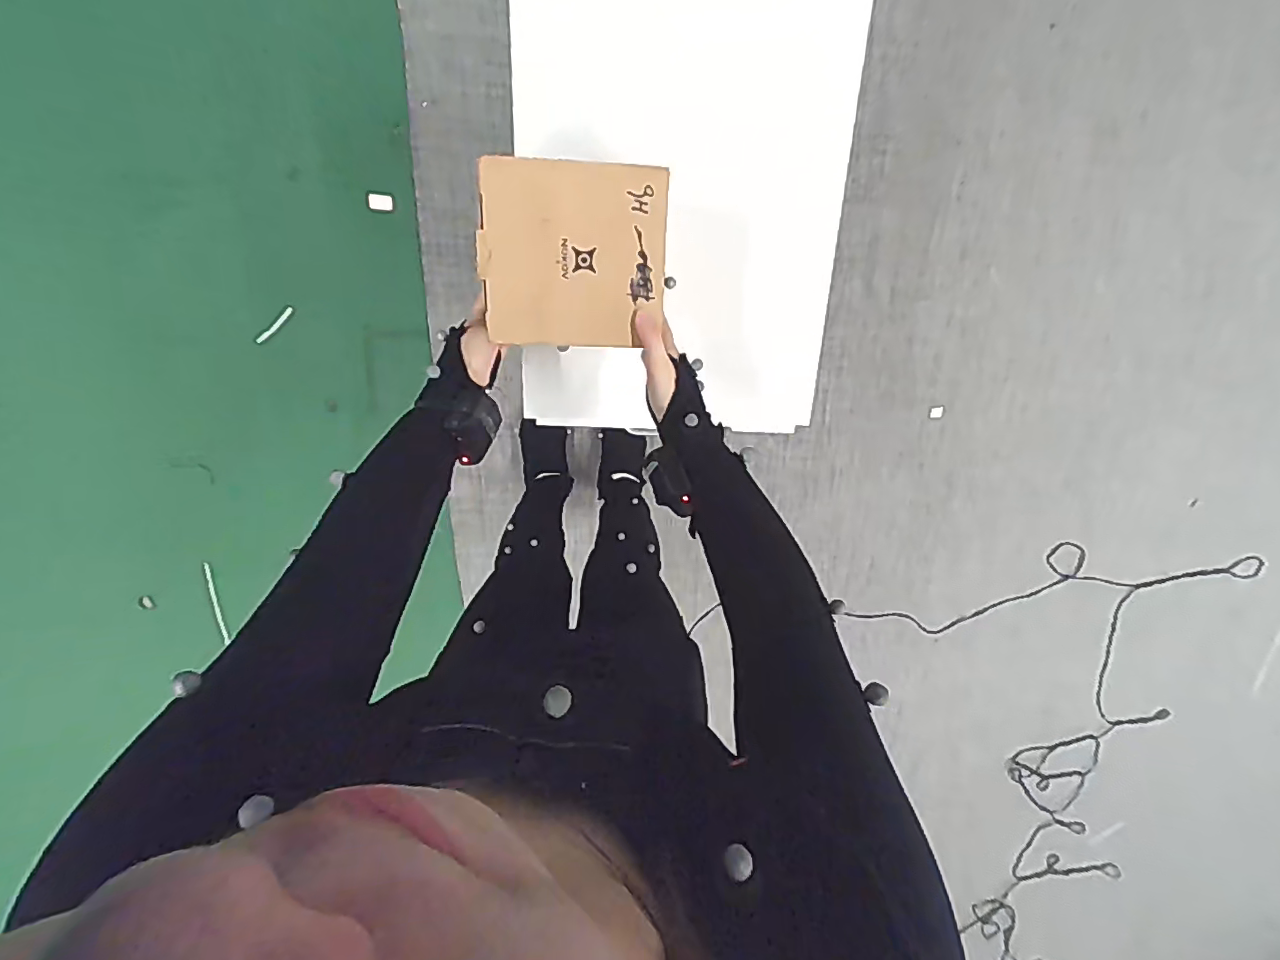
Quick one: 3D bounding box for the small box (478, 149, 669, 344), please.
[{"bbox_3d":[-0.070,-0.243,0.591,0.179,0.176,0.168,1,110,-6],"label":"small box"}]
